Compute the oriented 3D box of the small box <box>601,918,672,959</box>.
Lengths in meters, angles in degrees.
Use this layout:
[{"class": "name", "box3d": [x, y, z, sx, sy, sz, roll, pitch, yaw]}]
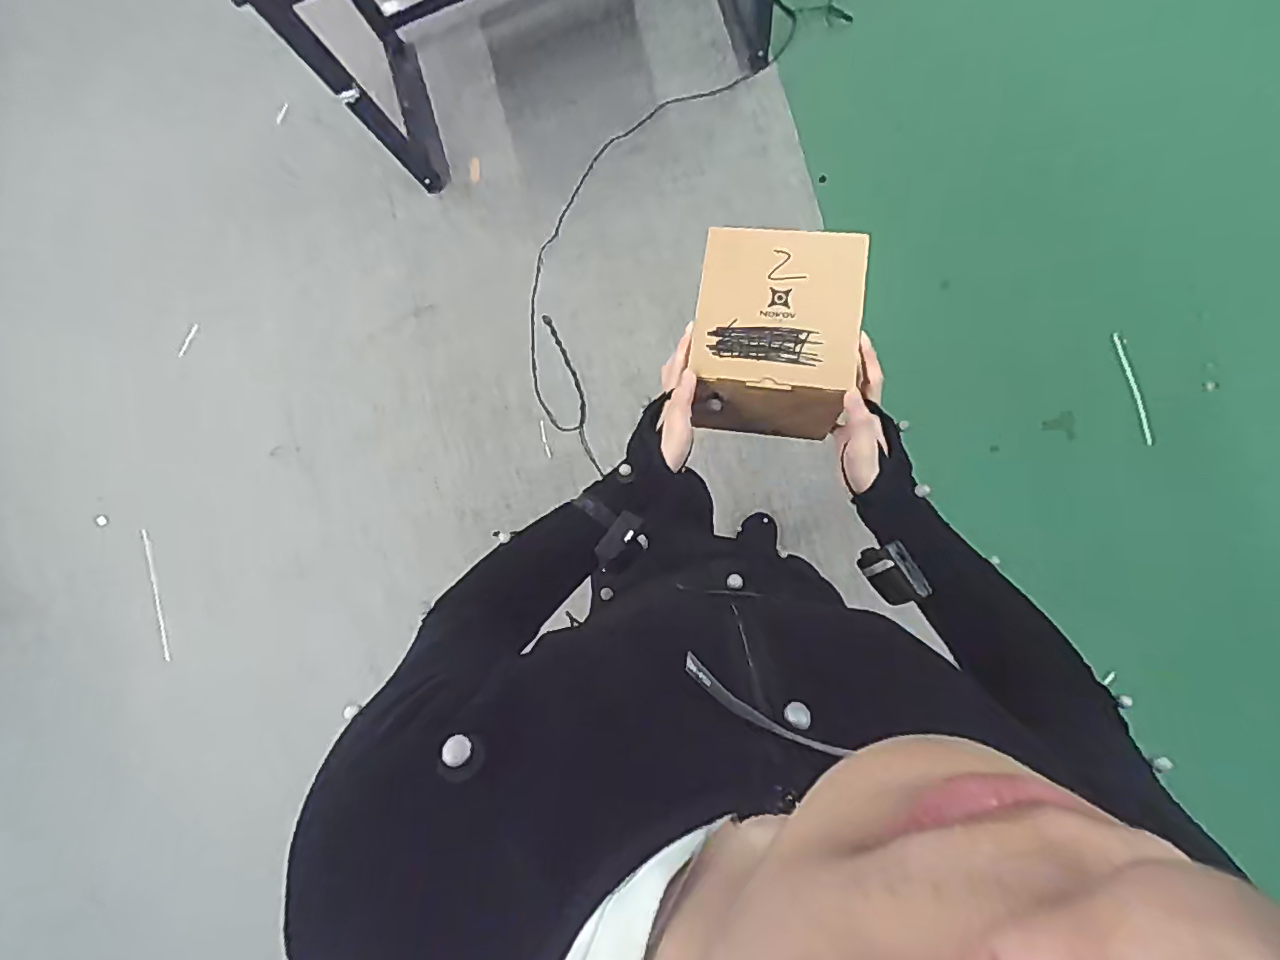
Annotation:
[{"class": "small box", "box3d": [-0.006, 1.355, 1.490, 0.179, 0.176, 0.168, -14, 84, 9]}]
